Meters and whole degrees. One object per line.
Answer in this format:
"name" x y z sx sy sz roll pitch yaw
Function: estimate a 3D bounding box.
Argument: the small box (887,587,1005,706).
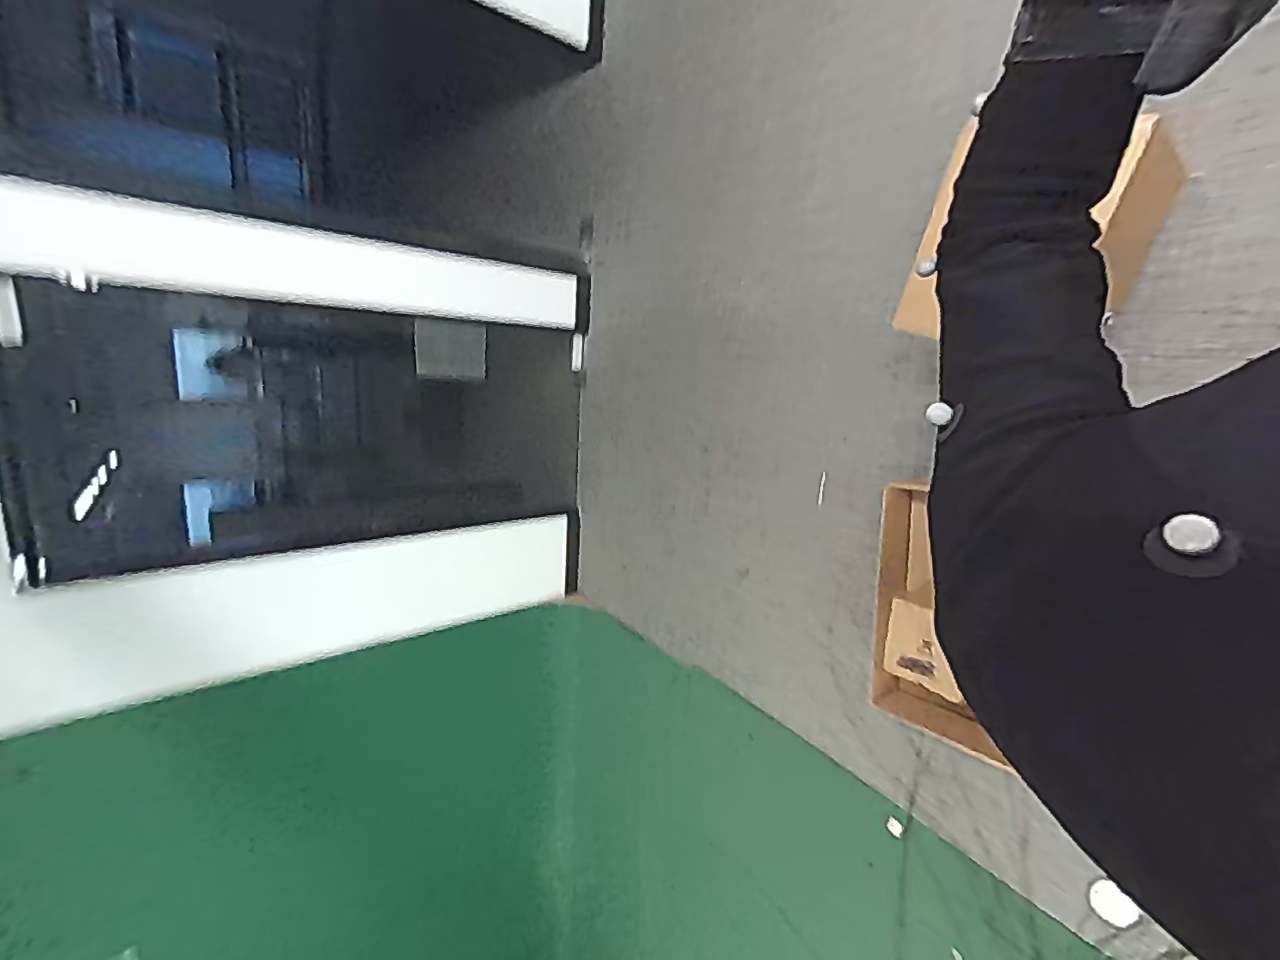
"small box" 0.670 0.354 1.185 0.168 0.176 0.179 15 105 50
